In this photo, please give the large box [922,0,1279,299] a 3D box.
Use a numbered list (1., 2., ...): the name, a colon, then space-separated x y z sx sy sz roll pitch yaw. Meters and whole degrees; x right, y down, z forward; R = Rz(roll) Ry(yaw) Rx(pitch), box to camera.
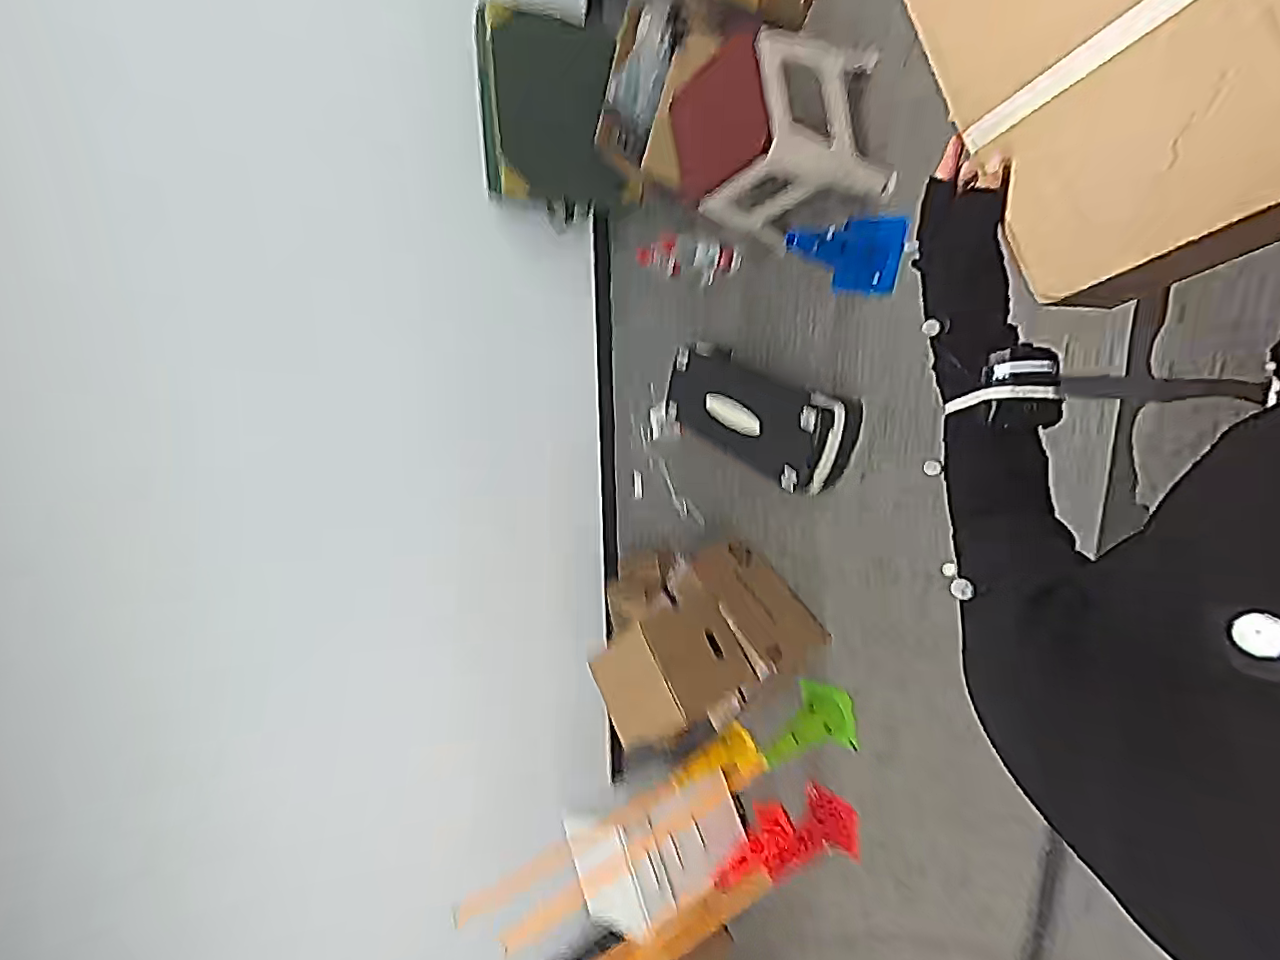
1. large box: 0.514 -0.381 0.411 0.408 0.320 0.320 -23 84 49
